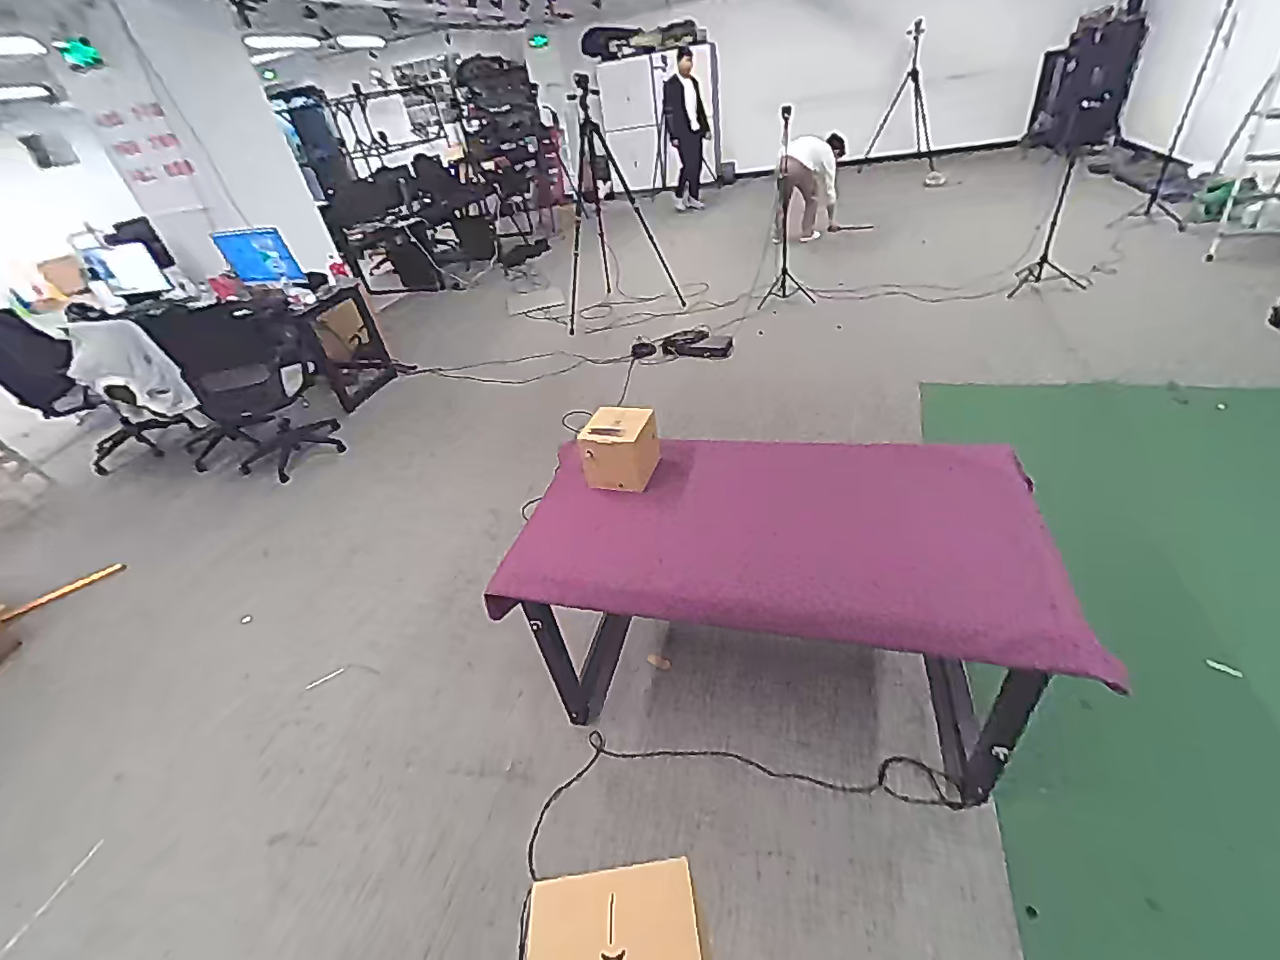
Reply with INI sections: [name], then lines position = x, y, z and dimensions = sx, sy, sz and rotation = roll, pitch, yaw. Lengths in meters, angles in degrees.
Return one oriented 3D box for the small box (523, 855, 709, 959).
[small box]
position = -0.014, 0.511, 0.531
dimensions = 0.168, 0.176, 0.179
rotation = -11, 34, 2
